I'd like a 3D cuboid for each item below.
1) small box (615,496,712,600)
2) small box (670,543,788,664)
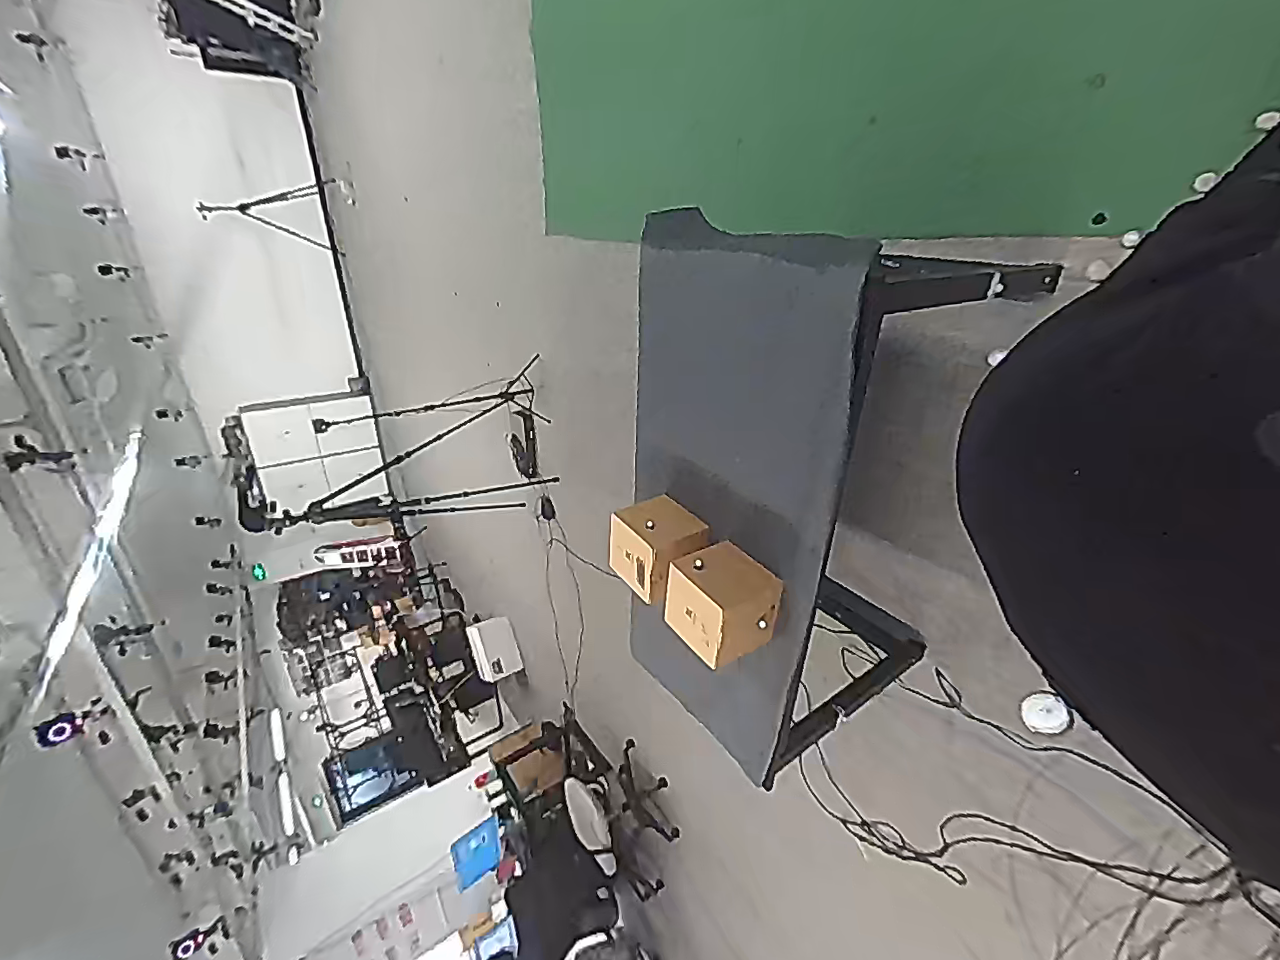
[{"bbox_3d":[0.056,0.158,1.327,0.179,0.176,0.168,36,133,44],"label":"small box"},{"bbox_3d":[0.188,0.254,1.167,0.179,0.176,0.168,36,133,45],"label":"small box"}]
